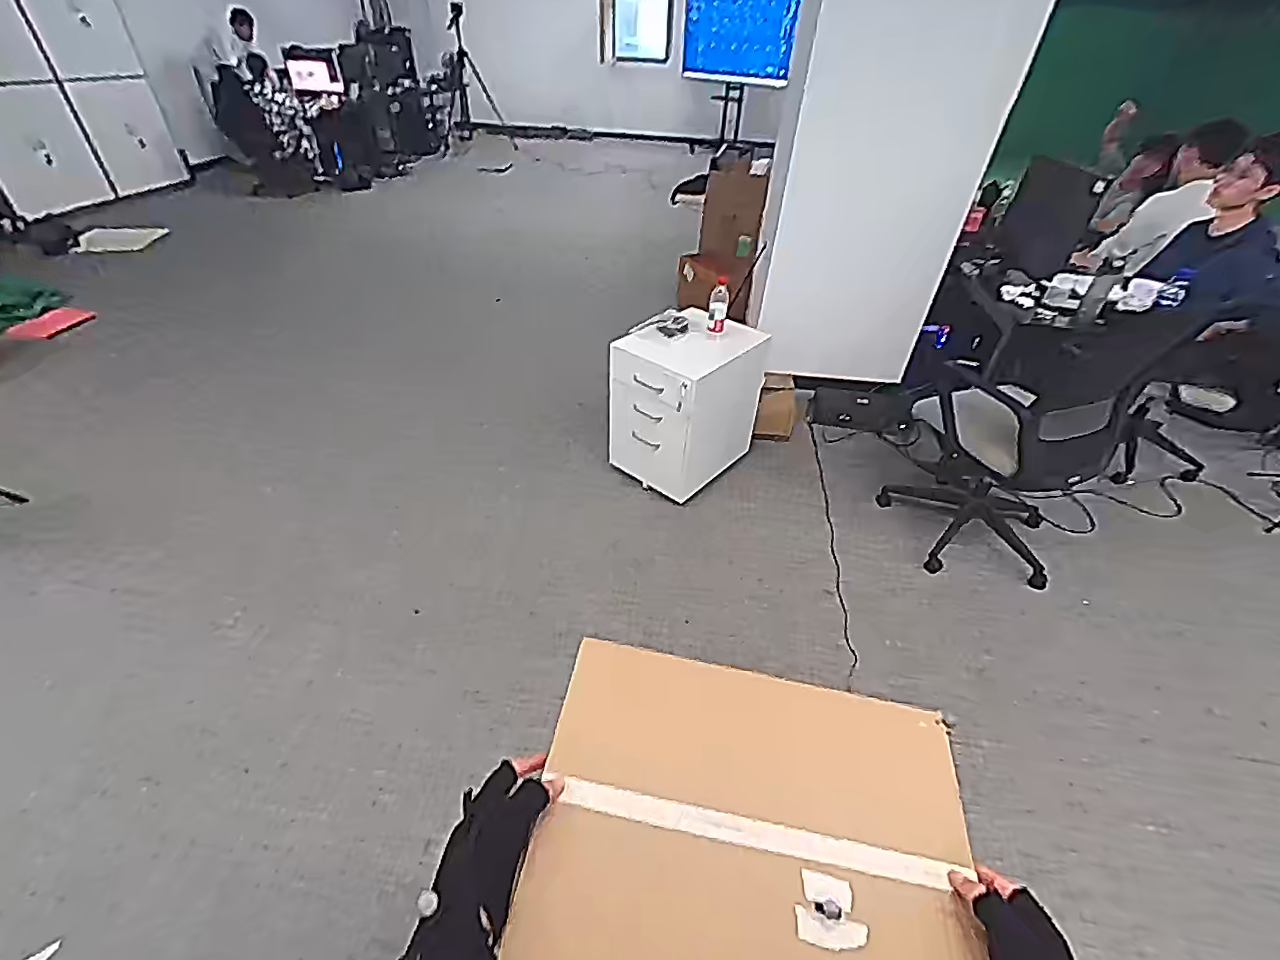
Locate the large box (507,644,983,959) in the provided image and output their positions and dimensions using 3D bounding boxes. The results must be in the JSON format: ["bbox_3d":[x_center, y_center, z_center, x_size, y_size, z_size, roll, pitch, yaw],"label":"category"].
[{"bbox_3d":[0.096,0.434,0.622,0.408,0.320,0.320,11,47,5],"label":"large box"}]
